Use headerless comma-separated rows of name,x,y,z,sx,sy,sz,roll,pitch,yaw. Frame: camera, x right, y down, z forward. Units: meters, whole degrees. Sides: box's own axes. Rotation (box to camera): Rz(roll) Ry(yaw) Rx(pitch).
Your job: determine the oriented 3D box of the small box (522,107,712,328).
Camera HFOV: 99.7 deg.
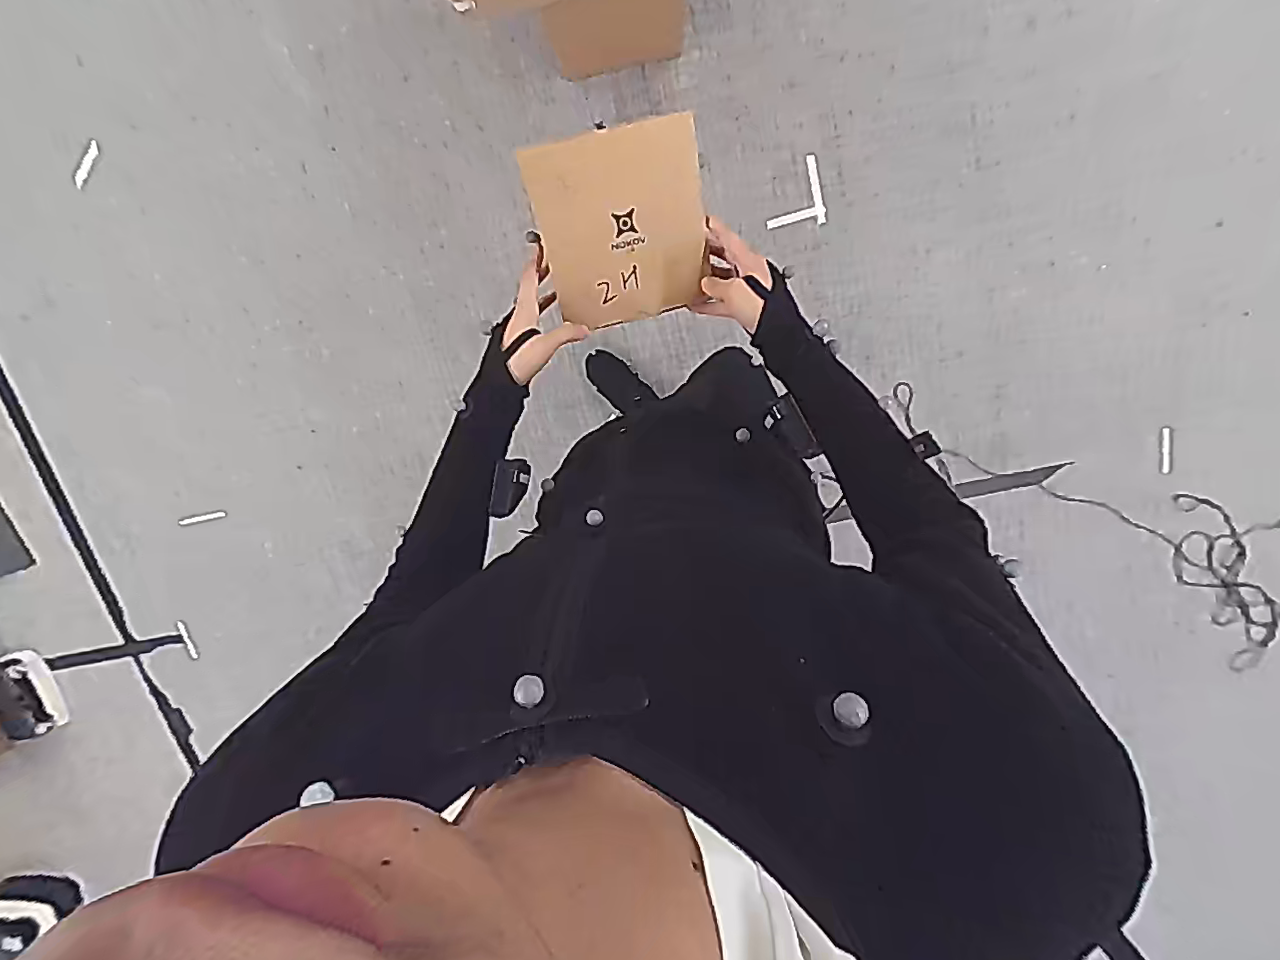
small box,-0.029,-0.293,0.603,0.168,0.176,0.179,-15,125,-4
